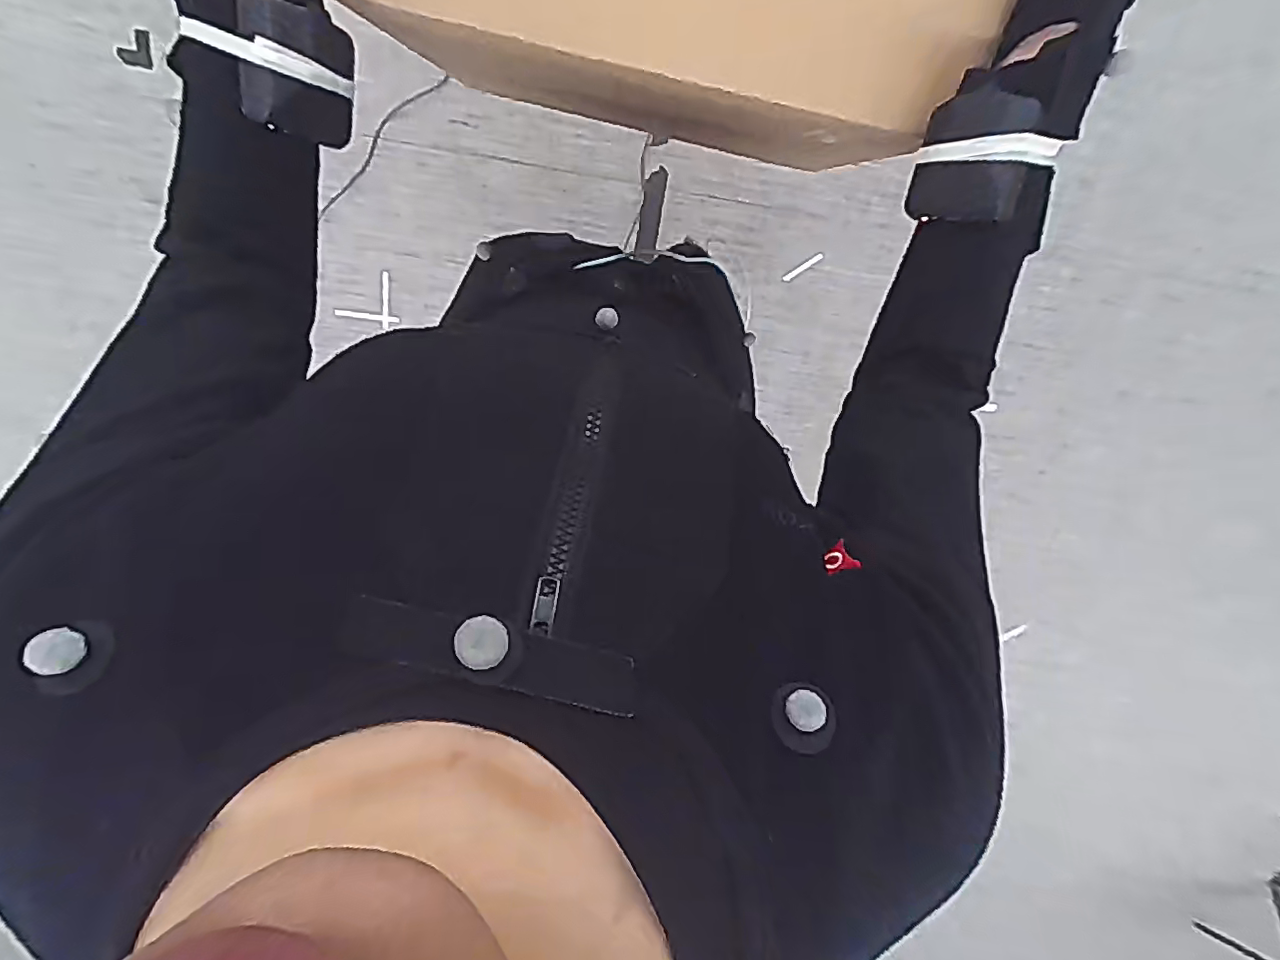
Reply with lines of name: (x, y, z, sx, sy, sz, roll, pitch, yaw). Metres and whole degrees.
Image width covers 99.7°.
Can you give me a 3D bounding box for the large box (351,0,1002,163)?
large box: (0.037, -0.459, 0.405, 0.408, 0.320, 0.320, 9, 118, -6)
